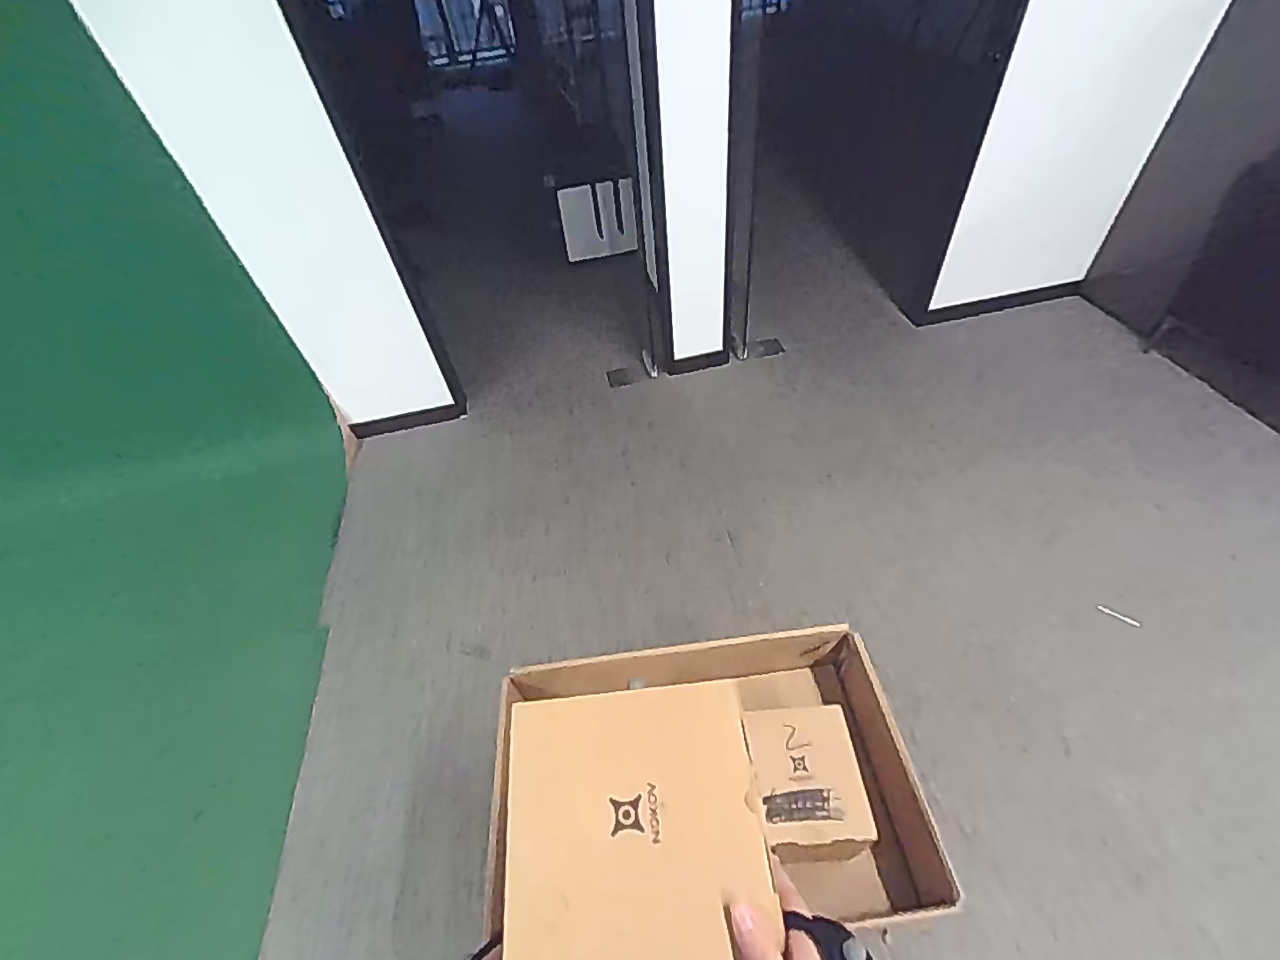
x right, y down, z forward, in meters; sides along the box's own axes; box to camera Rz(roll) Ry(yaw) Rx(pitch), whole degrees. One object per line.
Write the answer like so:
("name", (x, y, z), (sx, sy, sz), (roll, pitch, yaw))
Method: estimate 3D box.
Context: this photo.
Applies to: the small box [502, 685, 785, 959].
("small box", (0.000, 0.280, 0.434), (0.179, 0.176, 0.168), (-5, 54, -2))
